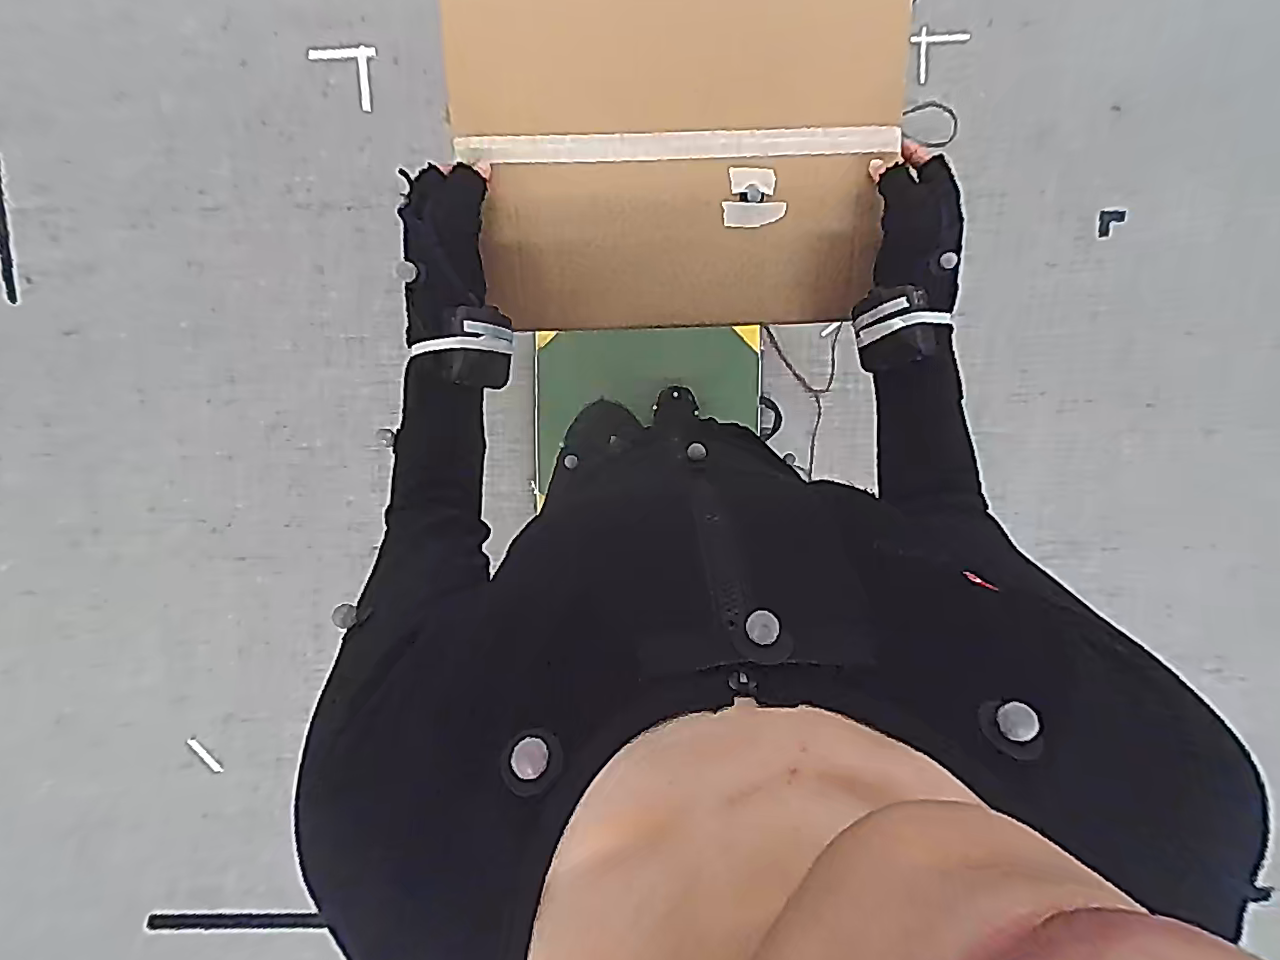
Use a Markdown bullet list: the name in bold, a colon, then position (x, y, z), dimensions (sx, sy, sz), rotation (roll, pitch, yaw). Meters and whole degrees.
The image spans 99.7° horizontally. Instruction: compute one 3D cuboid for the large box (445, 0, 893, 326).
- **large box**: position (0.026, -0.357, 0.649), dimensions (0.408, 0.320, 0.320), rotation (-3, 107, -2)
